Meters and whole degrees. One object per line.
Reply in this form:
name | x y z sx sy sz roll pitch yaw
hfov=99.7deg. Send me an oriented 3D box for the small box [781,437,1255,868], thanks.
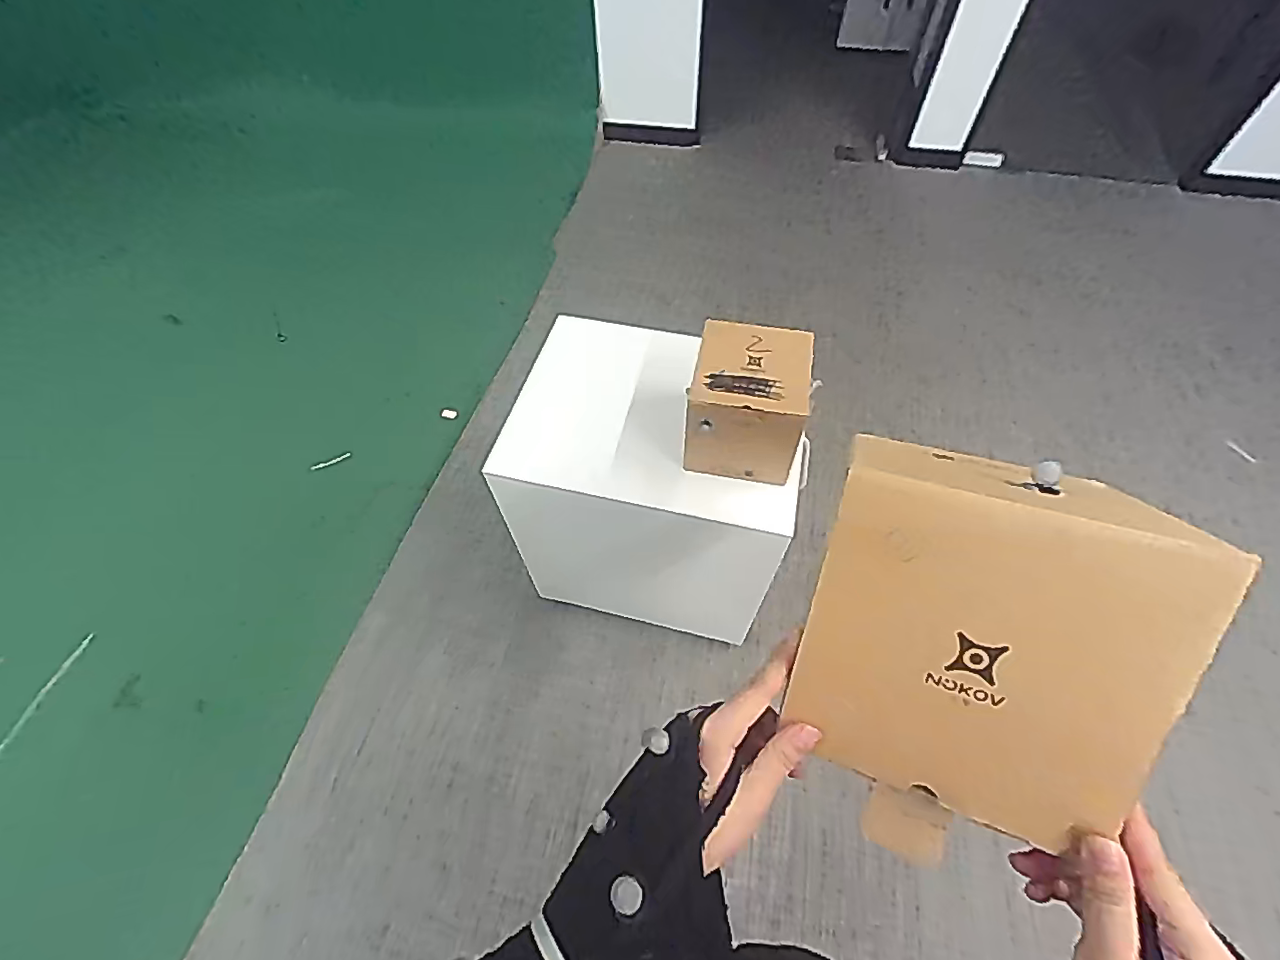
small box | 0.199 0.078 0.345 0.168 0.179 0.176 15 17 19
